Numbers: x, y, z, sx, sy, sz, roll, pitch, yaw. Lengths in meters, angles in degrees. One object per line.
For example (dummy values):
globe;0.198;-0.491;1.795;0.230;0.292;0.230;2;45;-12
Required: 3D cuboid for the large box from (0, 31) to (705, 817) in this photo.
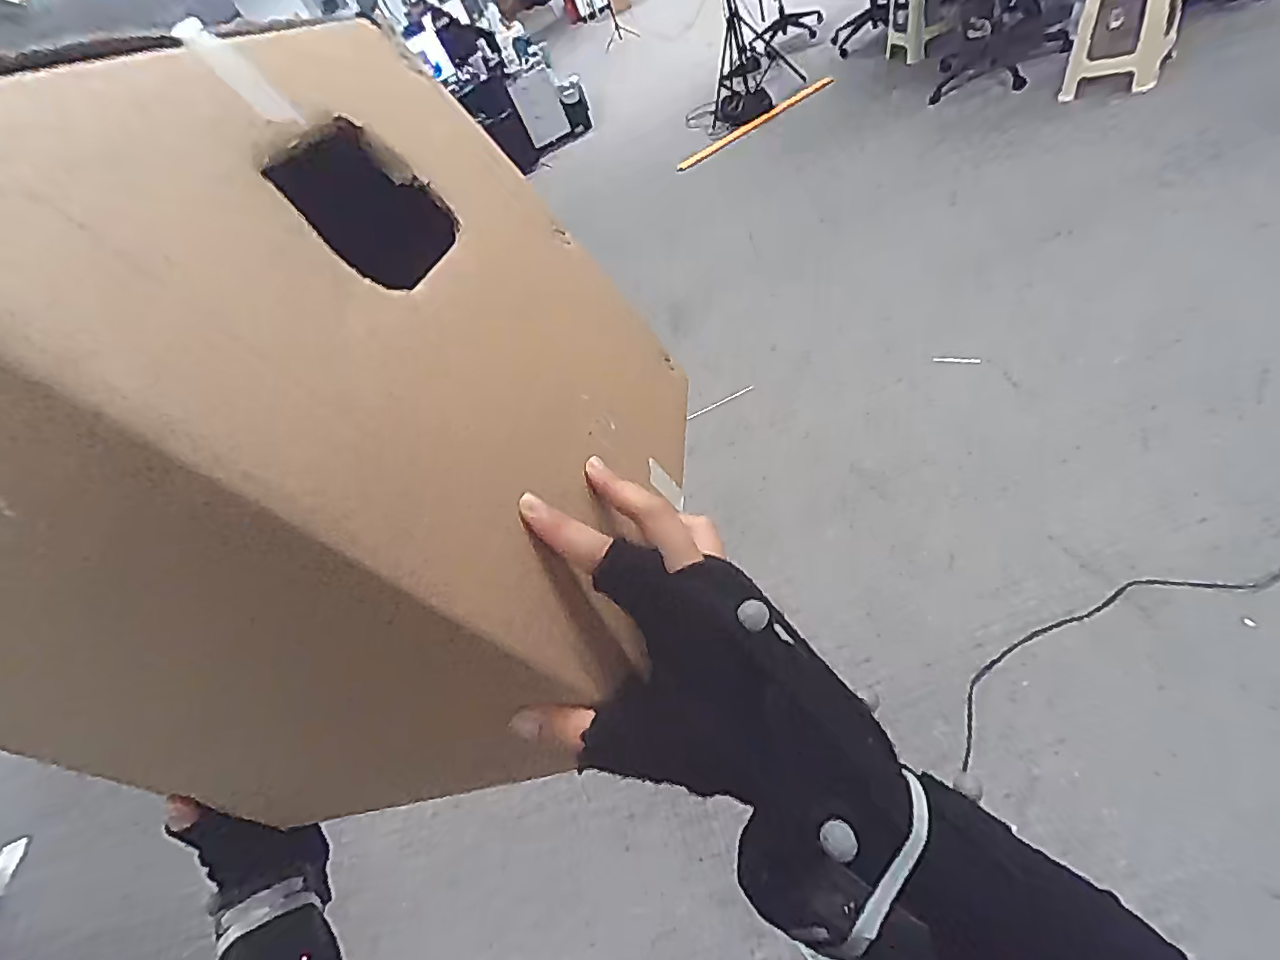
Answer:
large box;-0.203;0.002;0.384;0.408;0.320;0.320;-27;35;28
